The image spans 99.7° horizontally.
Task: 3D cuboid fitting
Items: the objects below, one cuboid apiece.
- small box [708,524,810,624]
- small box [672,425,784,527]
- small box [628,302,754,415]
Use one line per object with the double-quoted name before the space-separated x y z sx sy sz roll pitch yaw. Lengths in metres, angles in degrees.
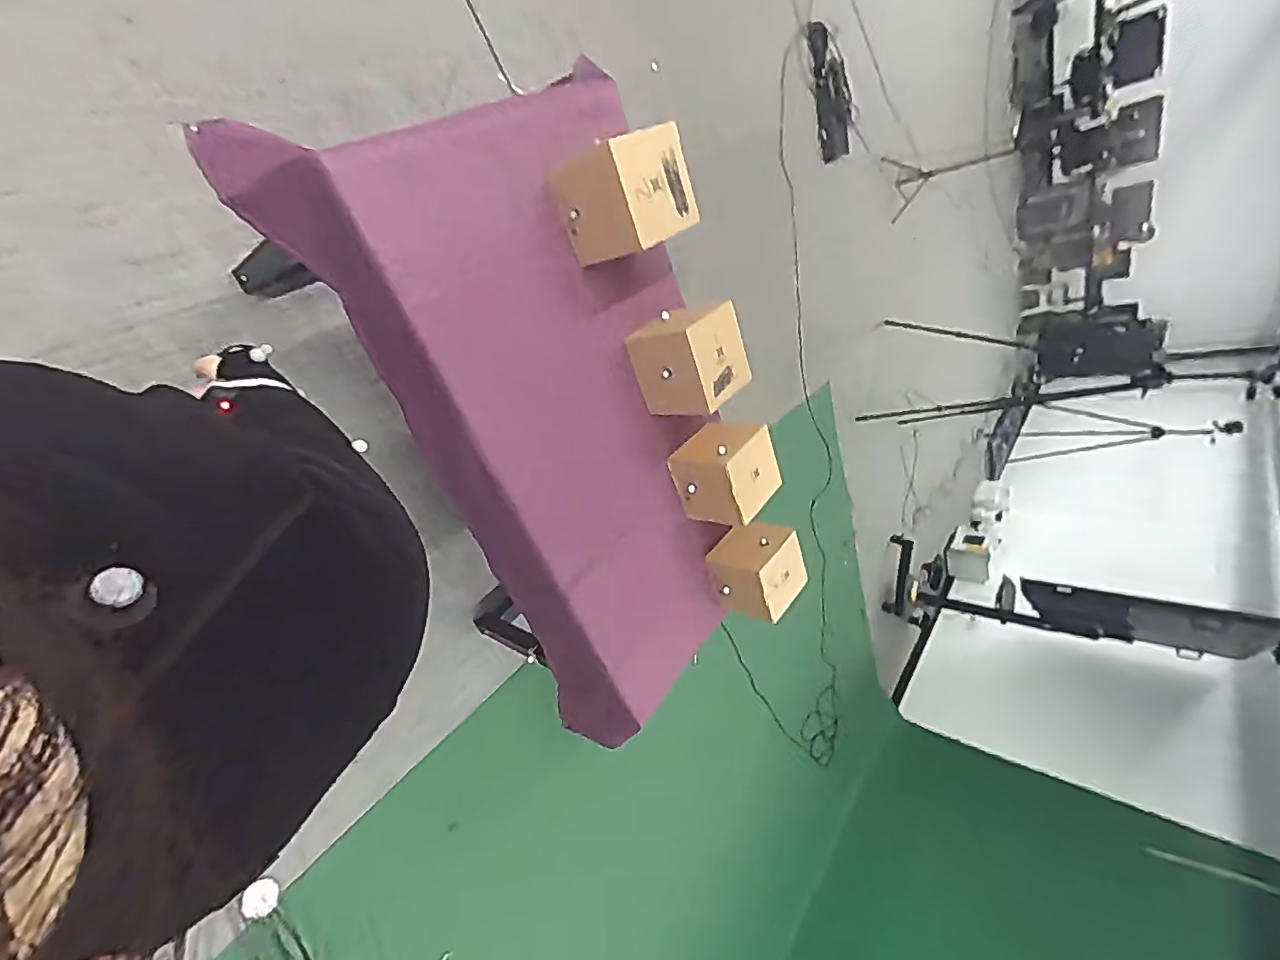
"small box" 0.301 0.227 1.370 0.179 0.176 0.168 -38 119 -33
"small box" 0.204 -0.018 1.251 0.179 0.176 0.168 -41 122 -33
"small box" 0.106 -0.249 1.123 0.168 0.176 0.179 -40 121 -35
